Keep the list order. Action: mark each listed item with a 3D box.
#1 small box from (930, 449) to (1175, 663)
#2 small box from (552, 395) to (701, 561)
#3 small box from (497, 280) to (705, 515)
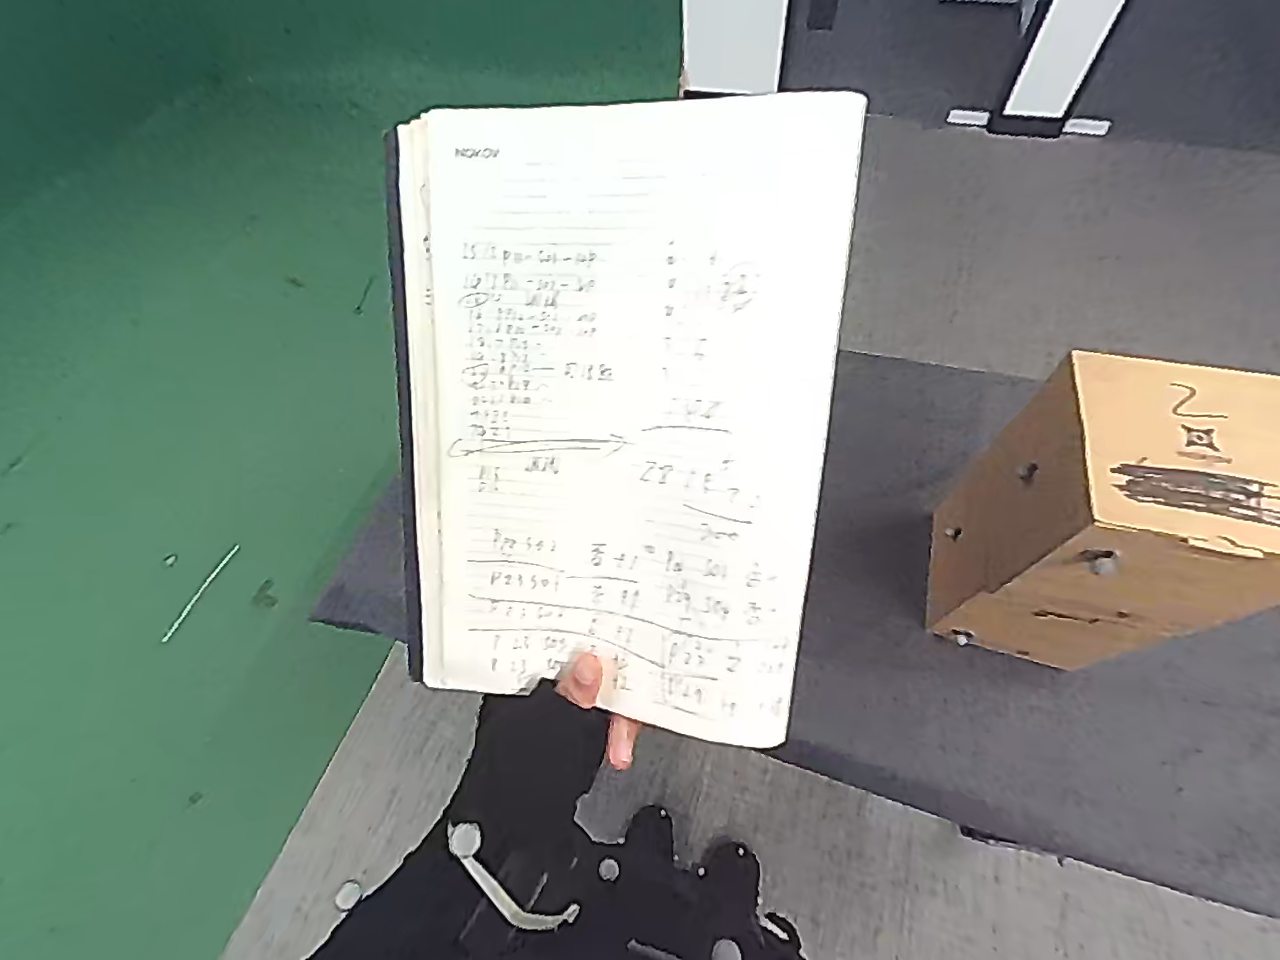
[{"bbox_3d":[0.457,0.095,0.631,0.168,0.176,0.179,14,61,13],"label":"small box"},{"bbox_3d":[-0.015,-0.012,0.740,0.168,0.176,0.179,10,61,12],"label":"small box"},{"bbox_3d":[-0.030,-0.087,0.596,0.168,0.176,0.179,11,61,11],"label":"small box"}]
